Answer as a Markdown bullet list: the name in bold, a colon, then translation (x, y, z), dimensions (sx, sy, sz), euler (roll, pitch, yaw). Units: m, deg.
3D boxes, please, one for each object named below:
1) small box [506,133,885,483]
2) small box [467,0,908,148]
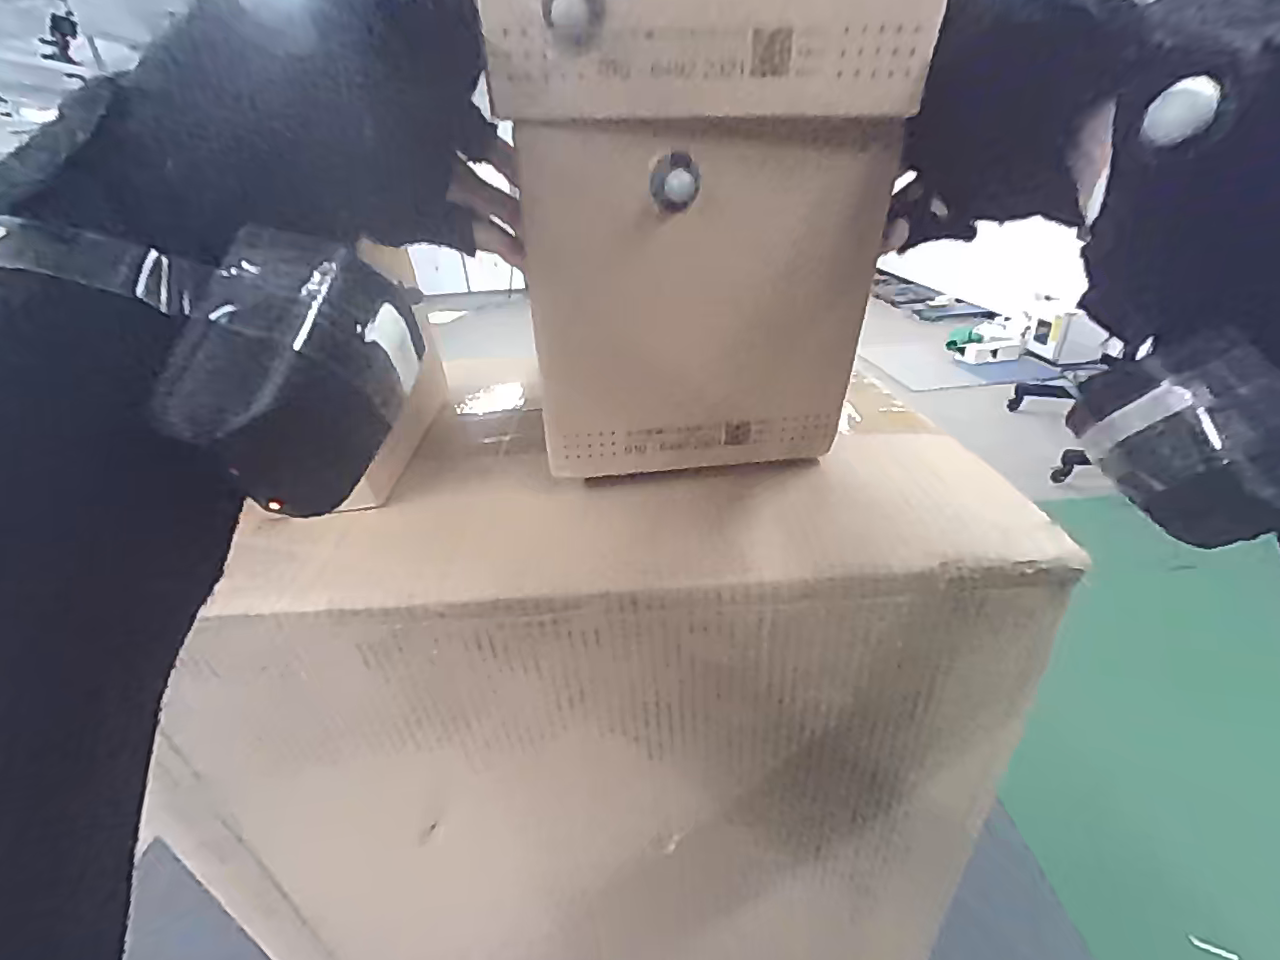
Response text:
- **small box**: translation (0.016, -0.116, 0.338), dimensions (0.168, 0.176, 0.179), euler (-5, 34, -6)
- **small box**: translation (0.014, -0.246, 0.237), dimensions (0.168, 0.176, 0.179), euler (-2, 34, -2)
